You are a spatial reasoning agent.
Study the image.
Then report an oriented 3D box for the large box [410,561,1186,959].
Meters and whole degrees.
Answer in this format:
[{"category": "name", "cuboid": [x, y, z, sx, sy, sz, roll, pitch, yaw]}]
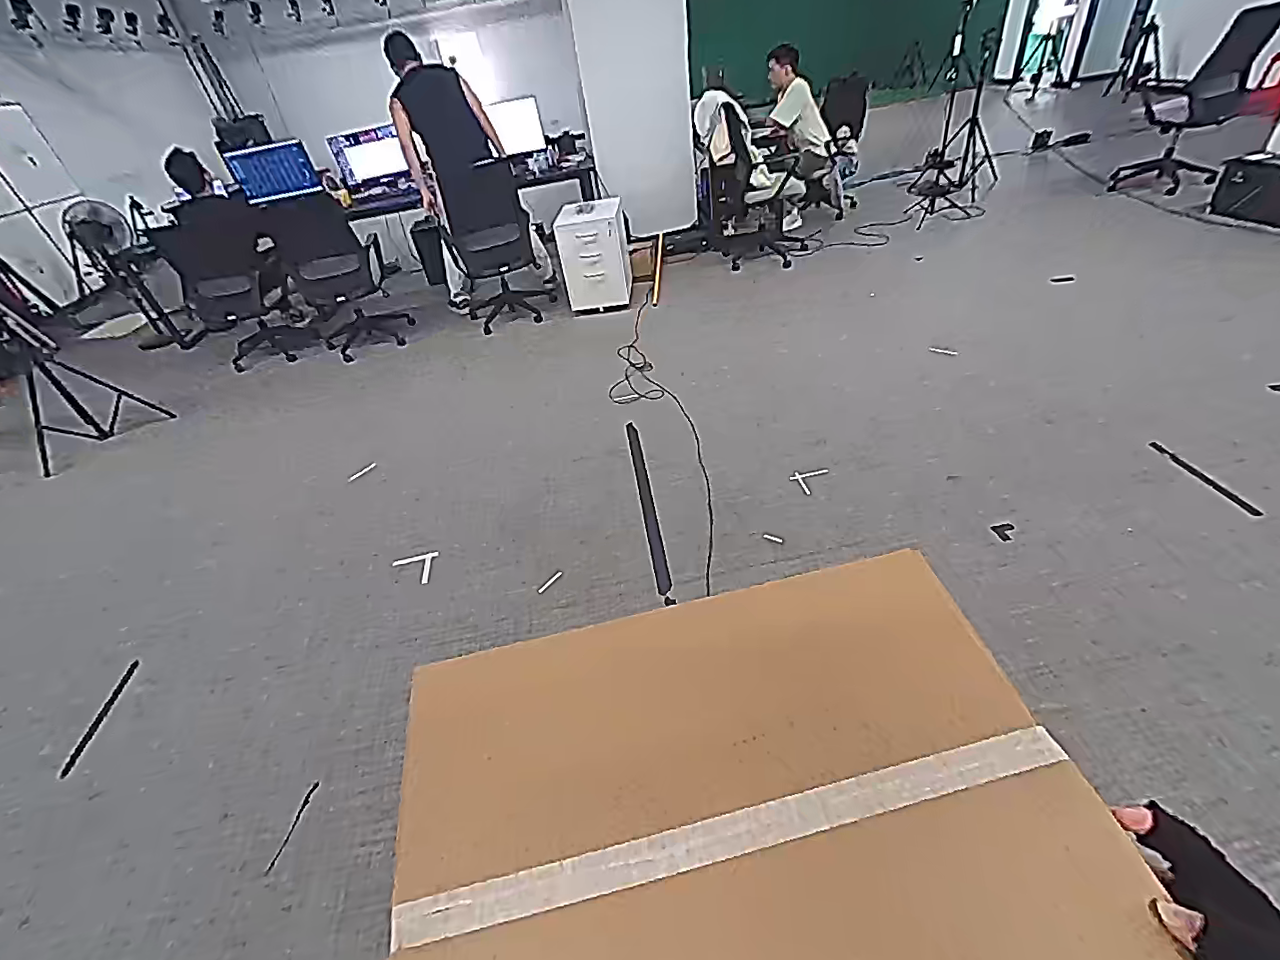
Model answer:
[{"category": "large box", "cuboid": [0.078, 0.318, 0.433, 0.408, 0.320, 0.320, -13, 45, -4]}]
